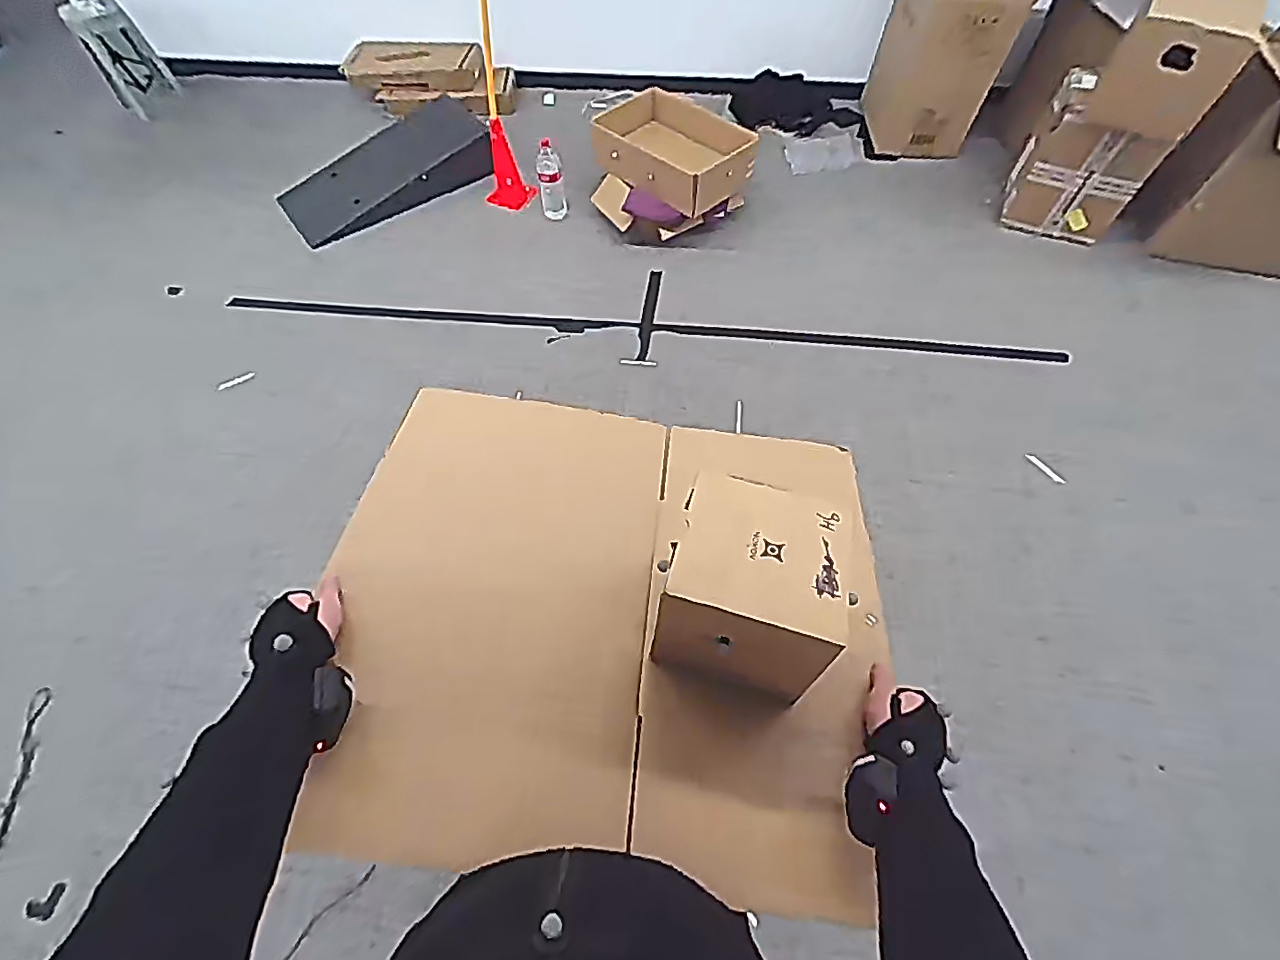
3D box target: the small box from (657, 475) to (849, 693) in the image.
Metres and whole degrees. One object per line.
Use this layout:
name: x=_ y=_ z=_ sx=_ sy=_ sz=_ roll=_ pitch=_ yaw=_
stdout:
small box: x=0.123 y=0.123 z=0.621 sx=0.179 sy=0.176 sz=0.168 roll=14 pitch=52 yaw=8
